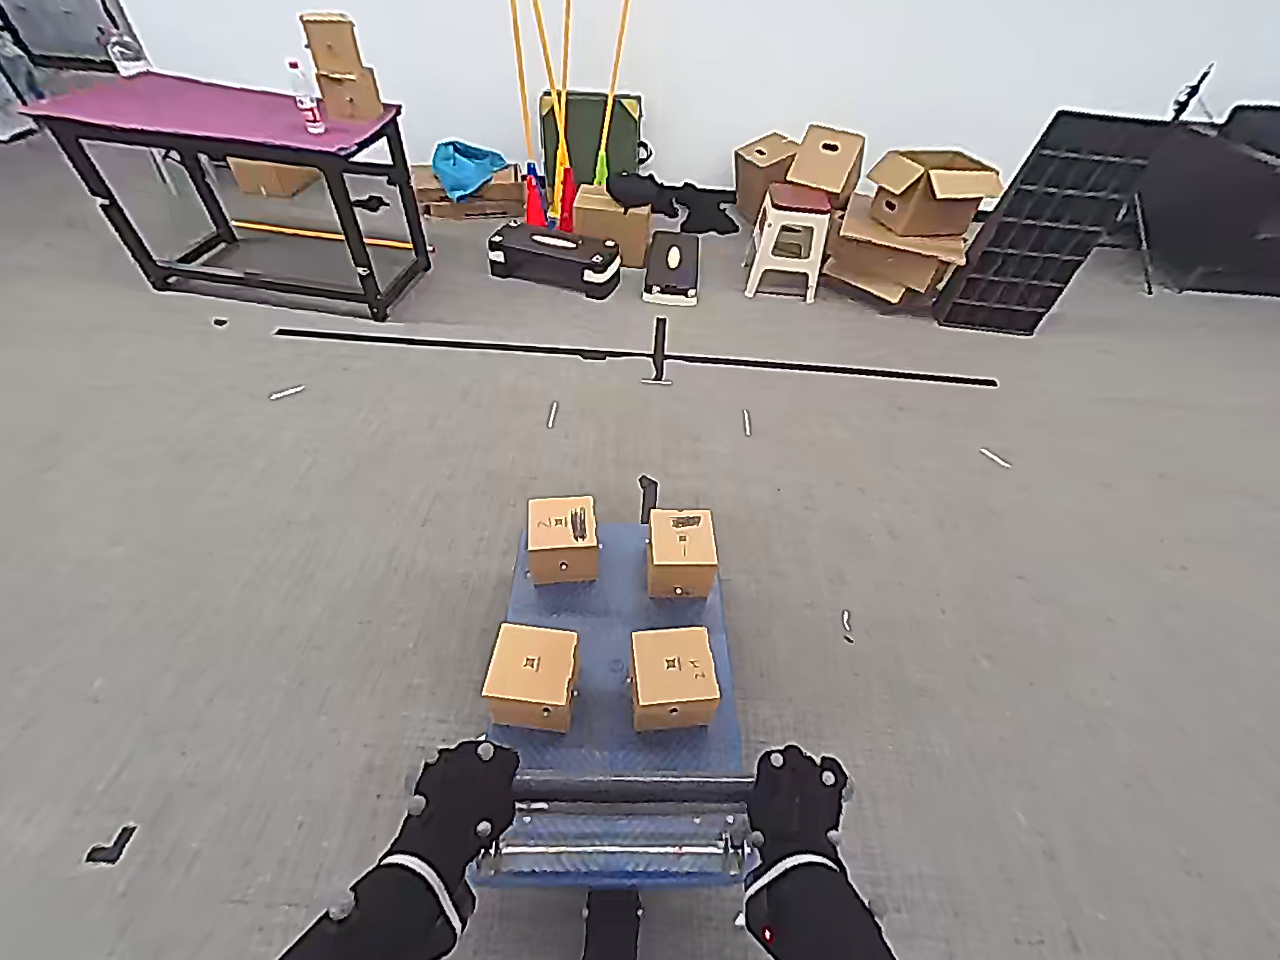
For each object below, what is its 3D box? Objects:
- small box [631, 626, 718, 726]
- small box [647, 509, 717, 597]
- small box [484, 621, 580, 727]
[{"bbox_3d":[0.070,0.453,1.243,0.179,0.176,0.168,-2,49,-6],"label":"small box"},{"bbox_3d":[0.107,0.199,1.474,0.168,0.176,0.179,1,49,-4],"label":"small box"},{"bbox_3d":[-0.237,0.443,1.226,0.179,0.176,0.168,7,47,0],"label":"small box"}]
